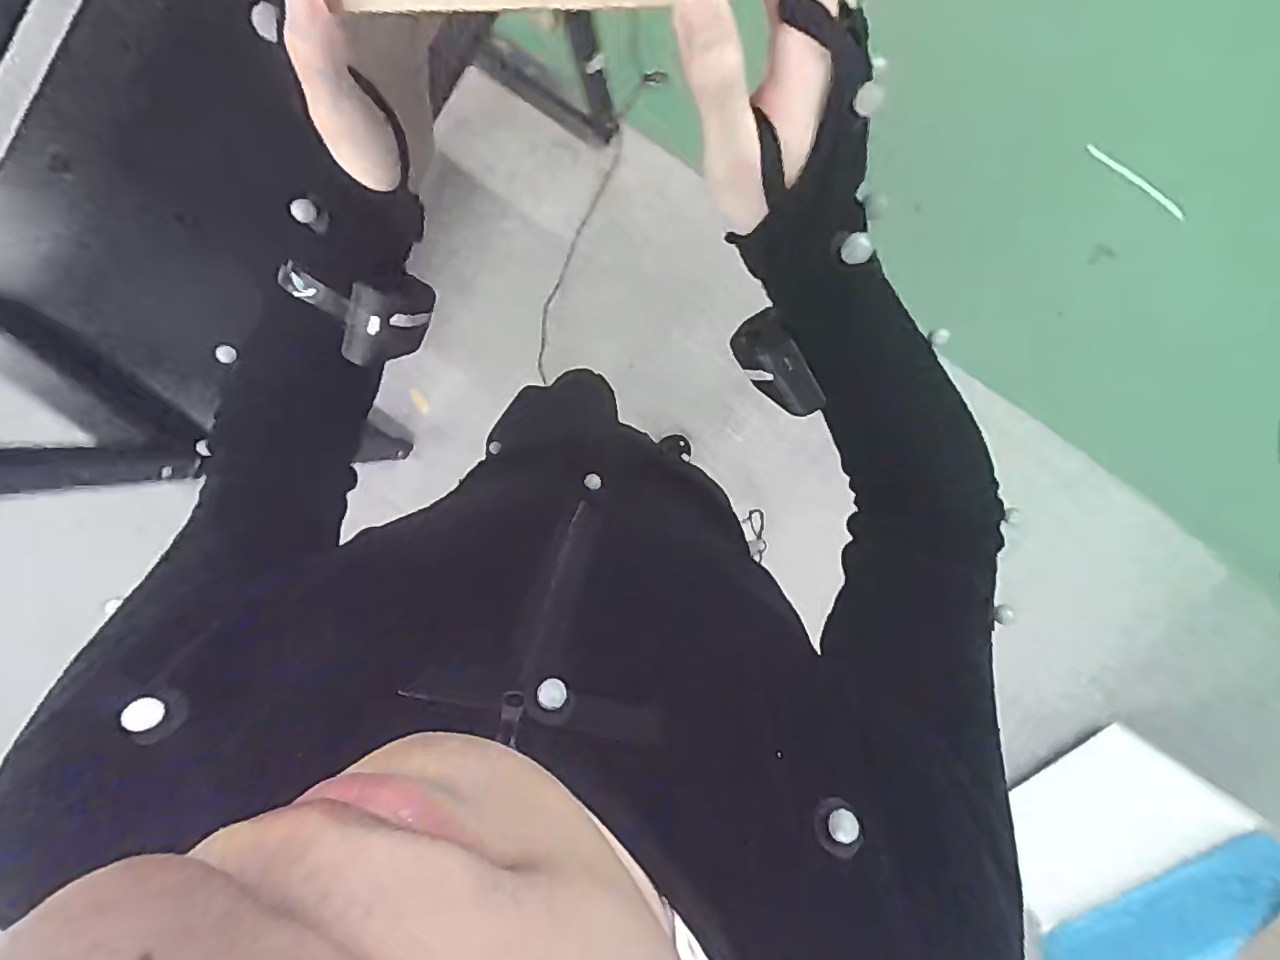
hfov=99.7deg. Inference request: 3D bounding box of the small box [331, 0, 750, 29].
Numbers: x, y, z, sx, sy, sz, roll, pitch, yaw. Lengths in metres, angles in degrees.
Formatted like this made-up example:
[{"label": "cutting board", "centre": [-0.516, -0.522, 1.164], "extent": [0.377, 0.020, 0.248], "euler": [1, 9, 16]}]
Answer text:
[{"label": "small box", "centre": [-0.031, -0.298, 0.216], "extent": [0.179, 0.176, 0.168], "euler": [7, 136, 10]}]
